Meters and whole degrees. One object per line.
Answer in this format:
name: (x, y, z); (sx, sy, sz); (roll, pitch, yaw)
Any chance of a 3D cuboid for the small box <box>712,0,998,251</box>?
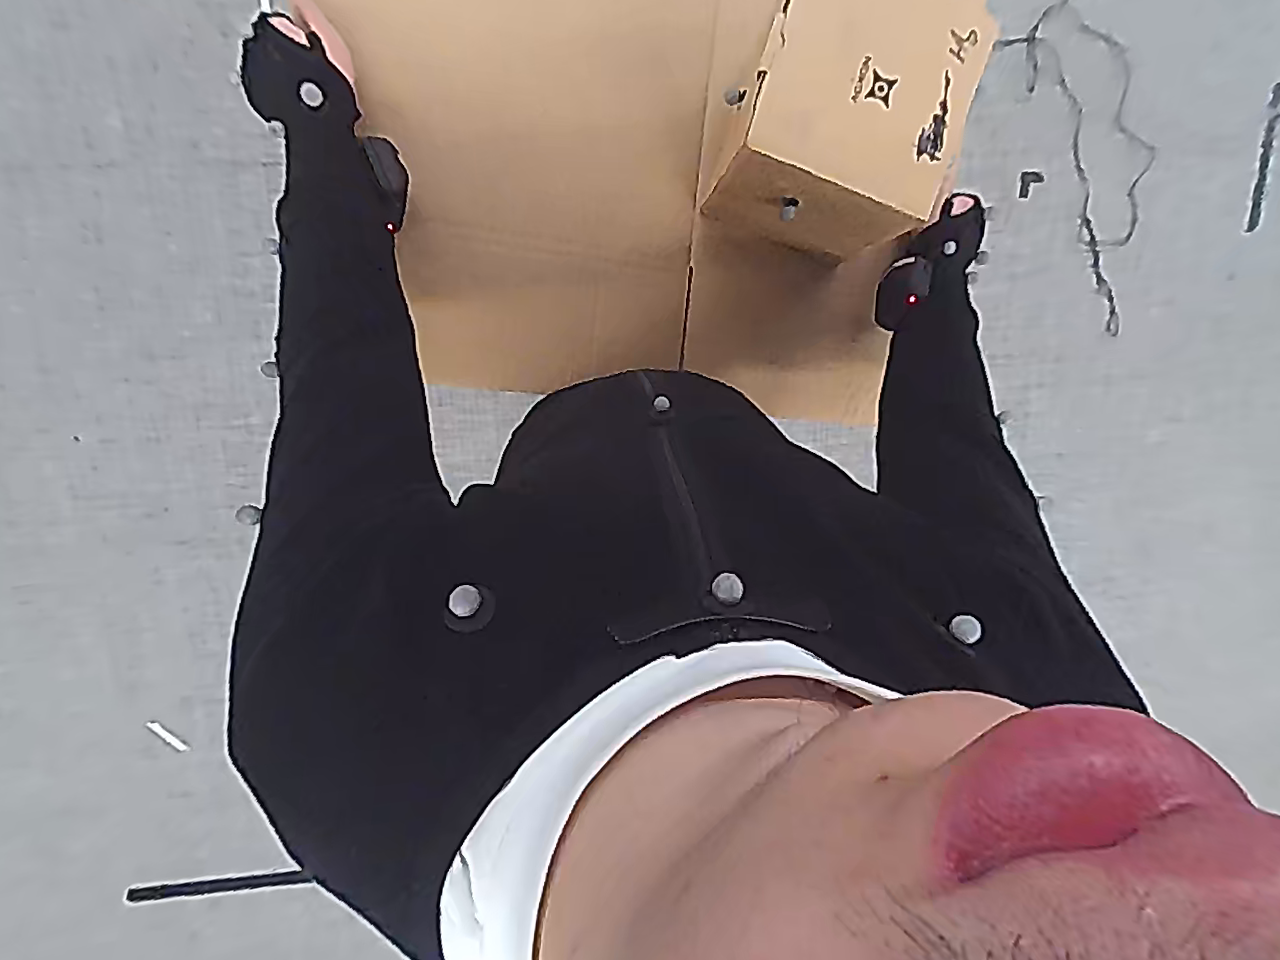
small box: (0.185, -0.344, 0.525); (0.179, 0.176, 0.168); (17, 98, -7)
